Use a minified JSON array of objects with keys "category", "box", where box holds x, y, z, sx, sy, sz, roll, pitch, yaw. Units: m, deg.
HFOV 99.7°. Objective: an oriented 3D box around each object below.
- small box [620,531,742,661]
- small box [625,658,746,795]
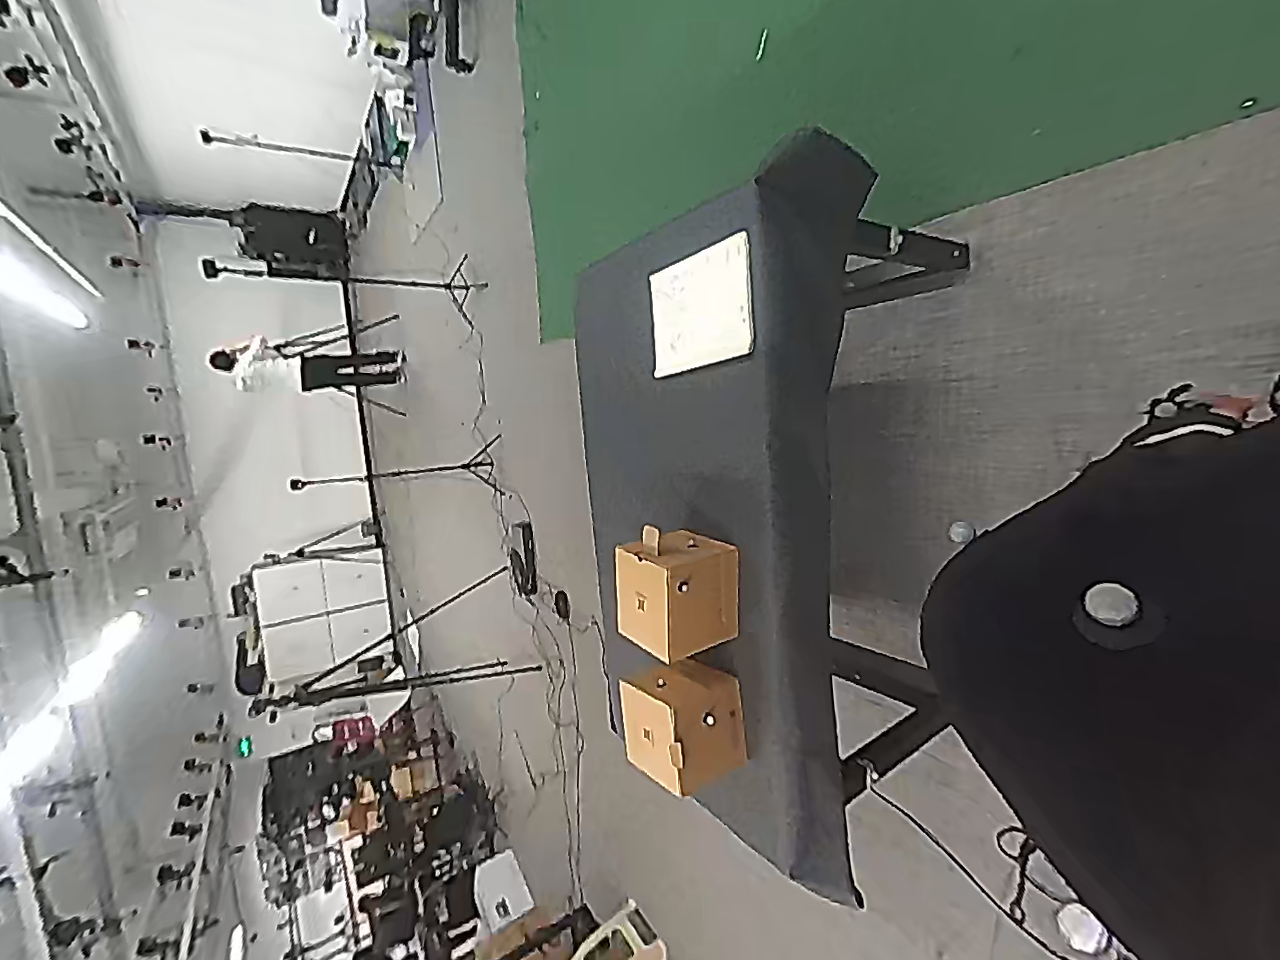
[{"category":"small box","box":[0.078,0.206,1.016,0.168,0.176,0.179,12,106,55]},{"category":"small box","box":[0.092,0.463,1.051,0.179,0.176,0.168,-4,93,58]}]
